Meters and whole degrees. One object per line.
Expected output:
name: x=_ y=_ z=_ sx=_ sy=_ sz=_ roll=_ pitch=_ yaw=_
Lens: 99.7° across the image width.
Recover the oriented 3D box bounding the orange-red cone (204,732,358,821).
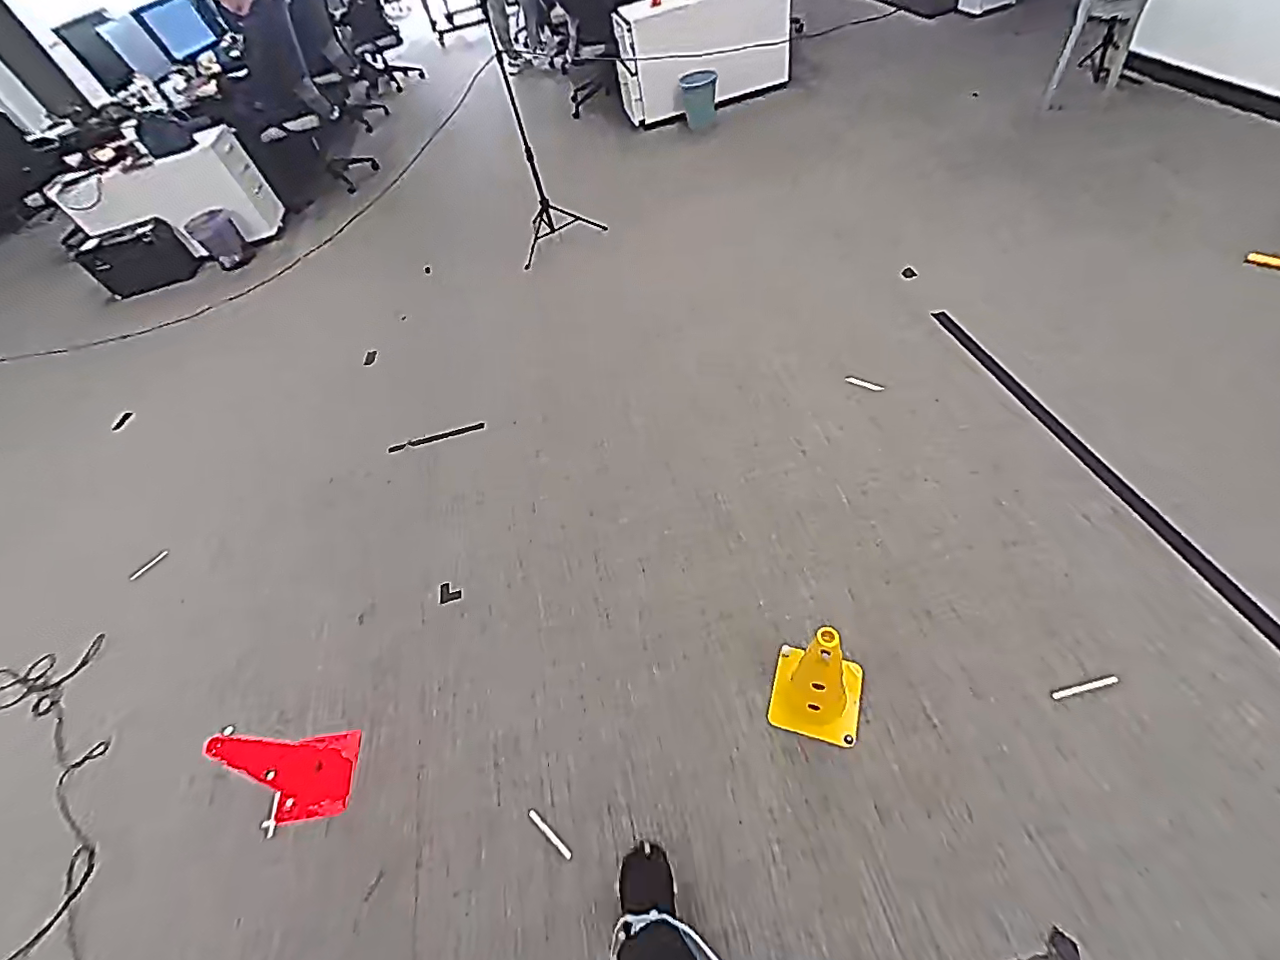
orange-red cone: x=-0.876 y=0.668 z=1.281 sx=0.199 sy=0.360 sz=0.198 roll=-10 pitch=51 yaw=4
